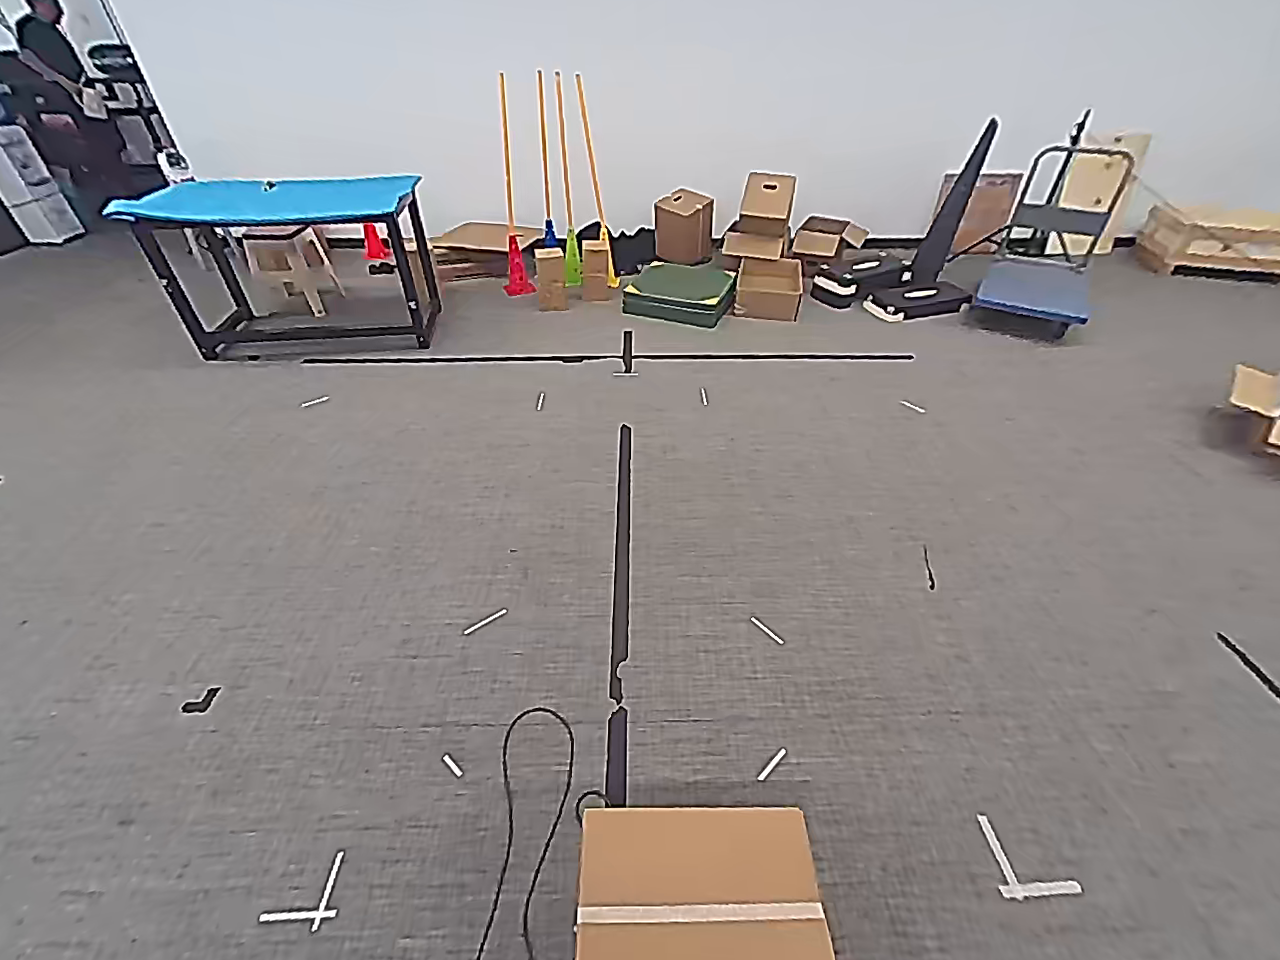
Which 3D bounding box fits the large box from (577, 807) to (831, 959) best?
[{"bbox_3d":[0.096,0.821,0.981,0.408,0.320,0.320,1,40,-2],"label":"large box"}]
